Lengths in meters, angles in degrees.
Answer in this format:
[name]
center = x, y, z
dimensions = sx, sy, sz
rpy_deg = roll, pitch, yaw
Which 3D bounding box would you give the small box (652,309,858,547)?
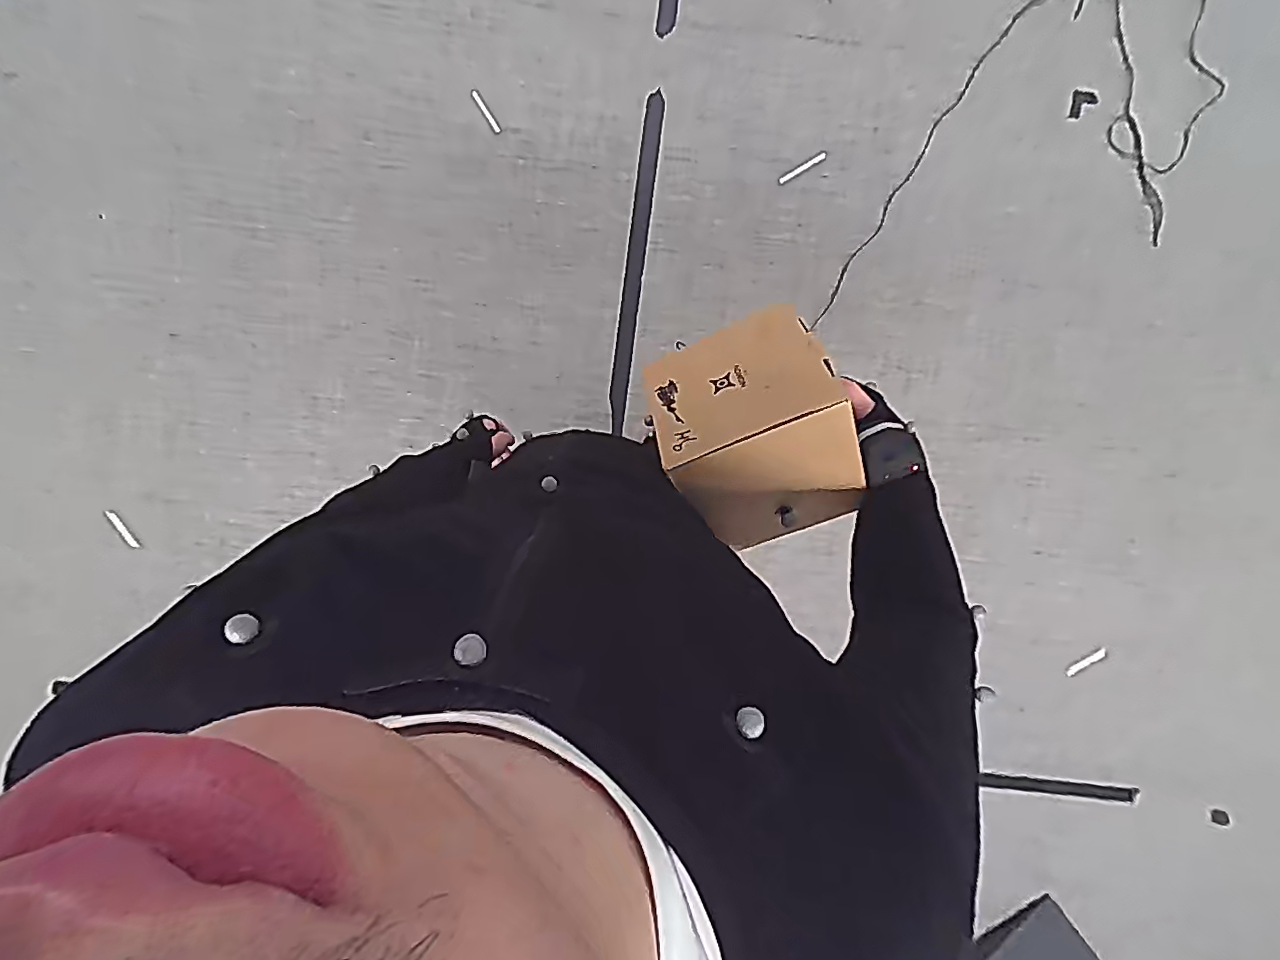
[small box]
center = 0.132, -0.052, 0.612
dimensions = 0.179, 0.168, 0.176
rpy_deg = -21, 135, 12
